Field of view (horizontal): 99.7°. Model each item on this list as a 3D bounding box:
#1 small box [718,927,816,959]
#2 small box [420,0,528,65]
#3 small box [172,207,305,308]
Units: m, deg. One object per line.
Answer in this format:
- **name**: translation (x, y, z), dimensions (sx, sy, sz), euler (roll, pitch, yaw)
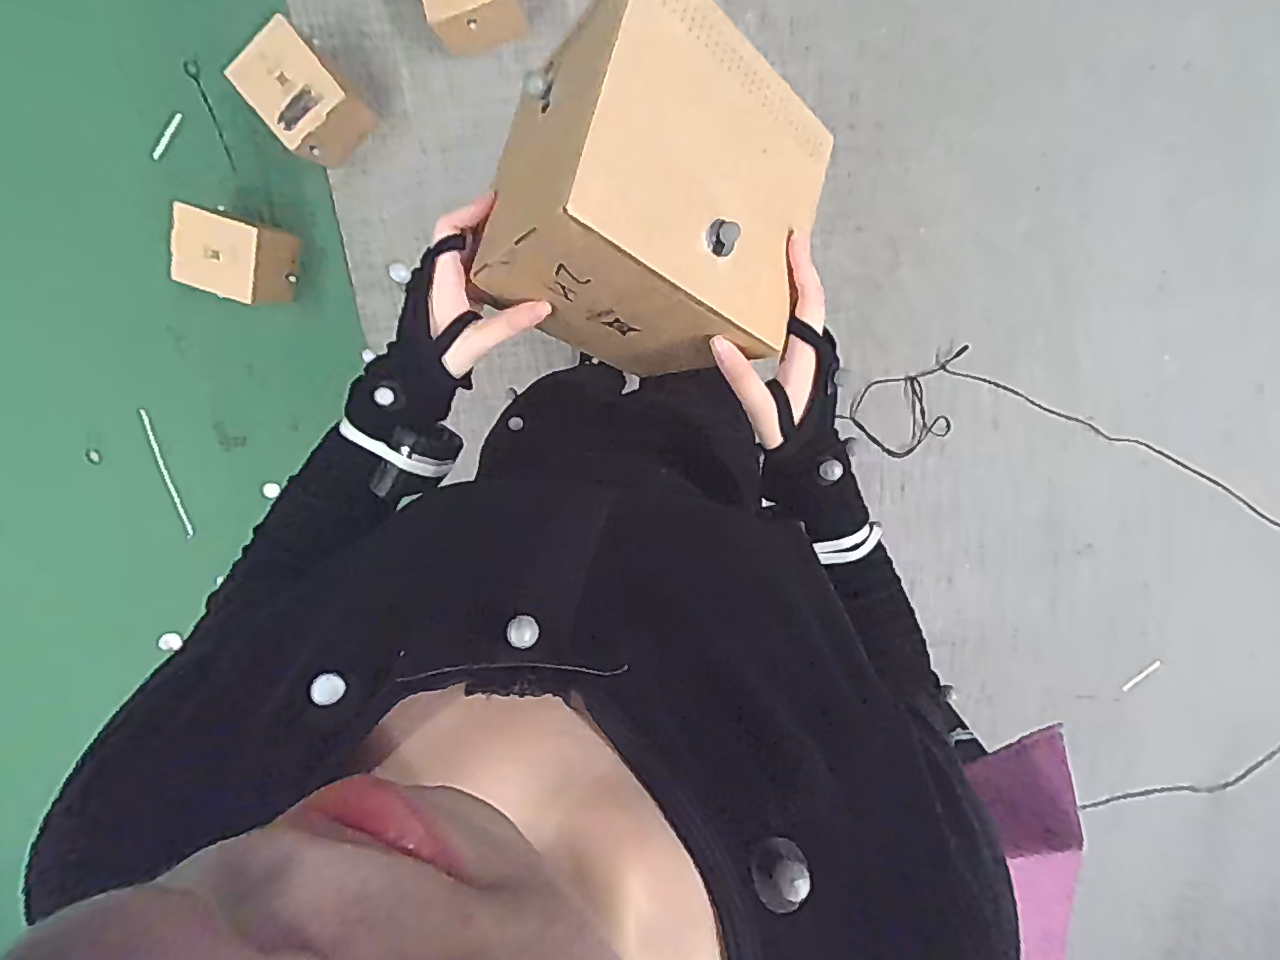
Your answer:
- **small box**: translation (0.244, 0.959, 0.986), dimensions (0.179, 0.176, 0.168), euler (-5, 108, 0)
- **small box**: translation (-0.347, -0.990, 1.098), dimensions (0.179, 0.176, 0.168), euler (-17, 108, 4)
- **small box**: translation (-0.922, -0.505, 1.251), dimensions (0.179, 0.176, 0.168), euler (18, 107, -6)
